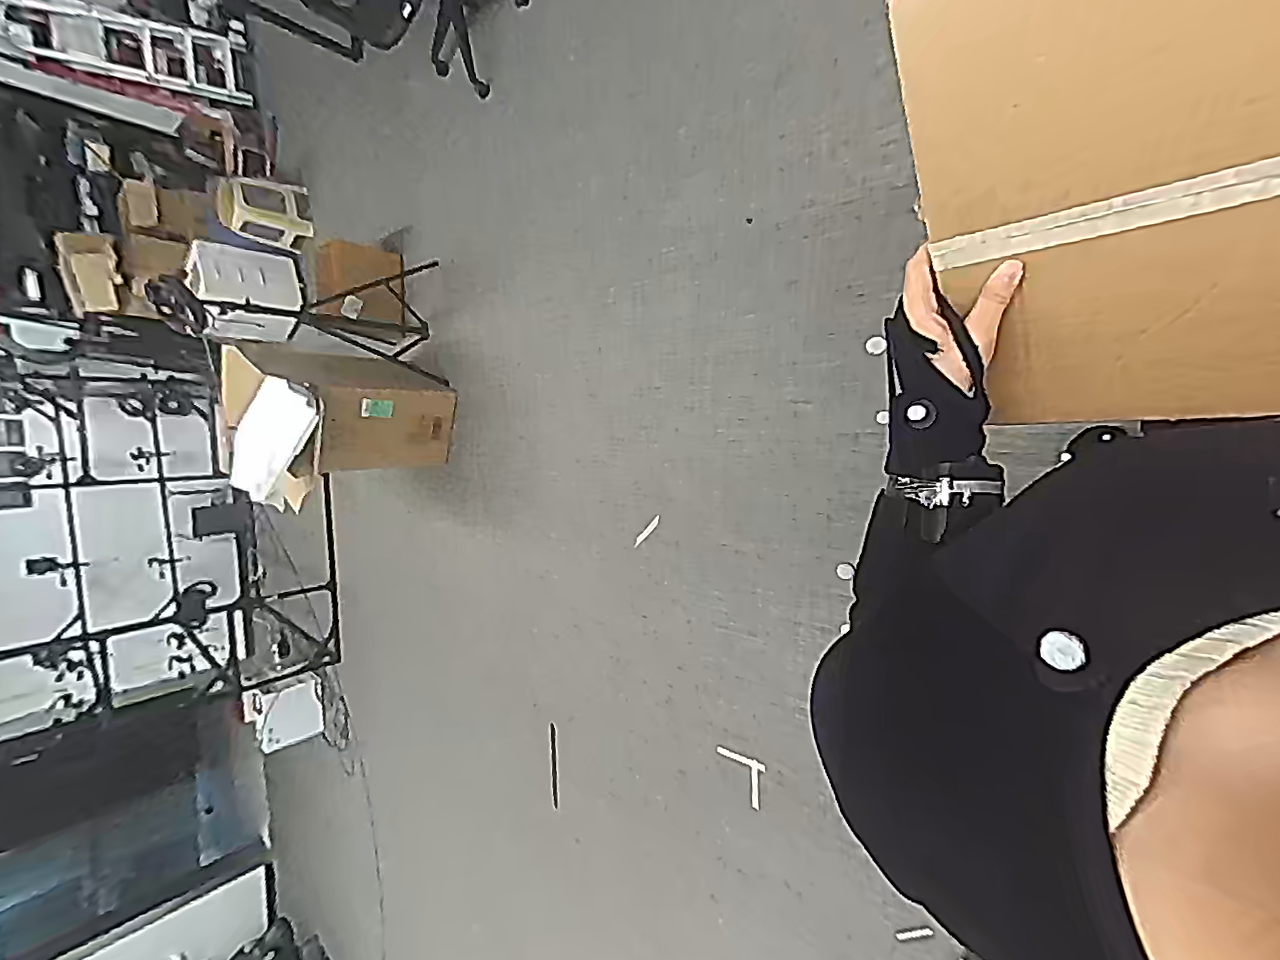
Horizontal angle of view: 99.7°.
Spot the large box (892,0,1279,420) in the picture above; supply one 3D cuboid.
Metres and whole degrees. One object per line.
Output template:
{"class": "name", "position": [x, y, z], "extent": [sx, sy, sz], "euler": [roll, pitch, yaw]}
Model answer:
{"class": "large box", "position": [0.438, -0.267, 0.345], "extent": [0.408, 0.320, 0.320], "euler": [0, 133, 43]}
